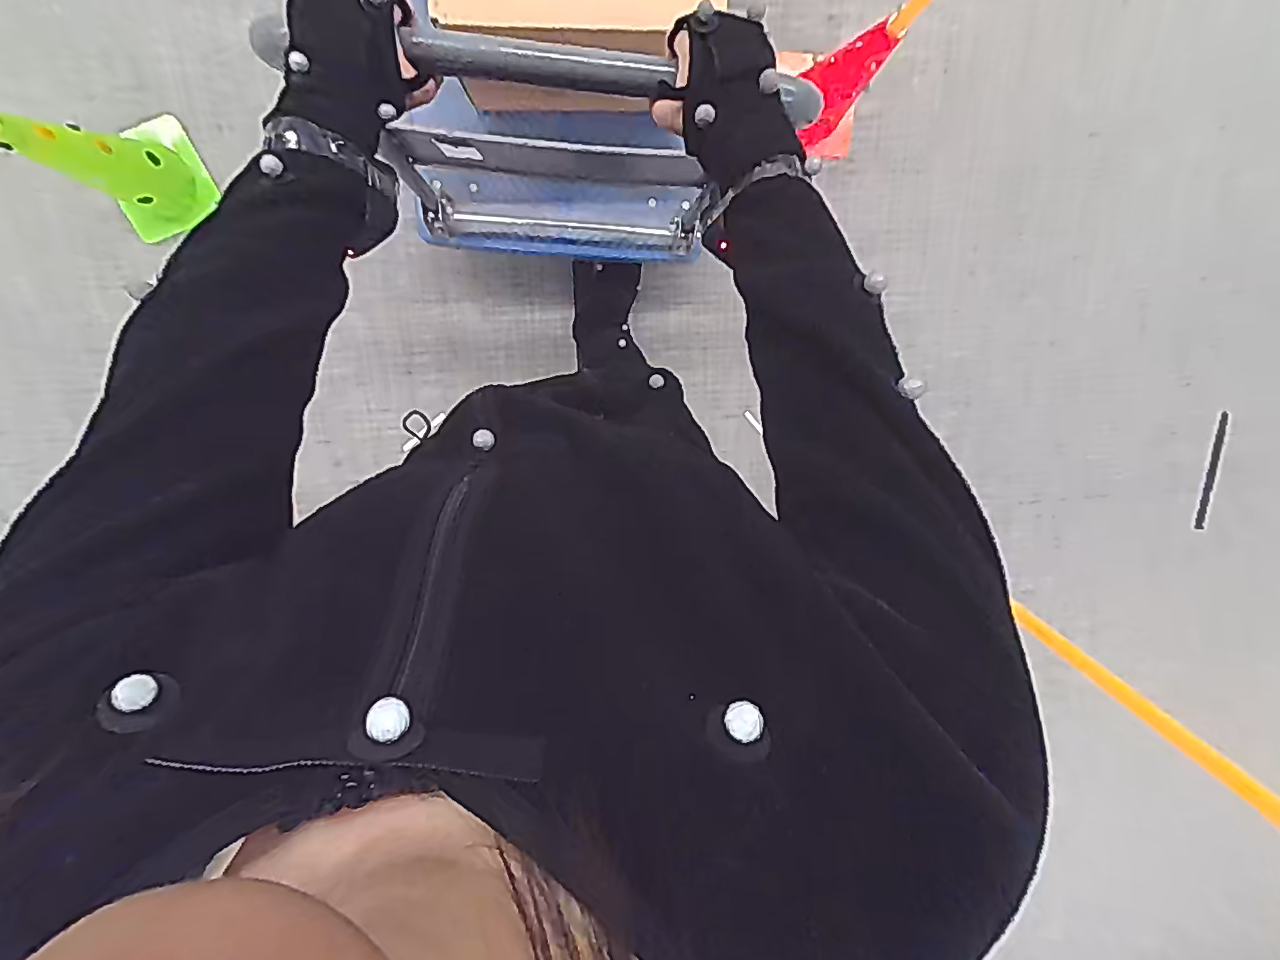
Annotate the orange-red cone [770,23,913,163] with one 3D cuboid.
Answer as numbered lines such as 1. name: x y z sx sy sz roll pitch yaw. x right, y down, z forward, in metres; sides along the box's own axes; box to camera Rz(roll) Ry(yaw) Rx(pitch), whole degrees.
1. orange-red cone: 0.422 -0.794 1.069 0.199 0.360 0.198 2 106 -8
